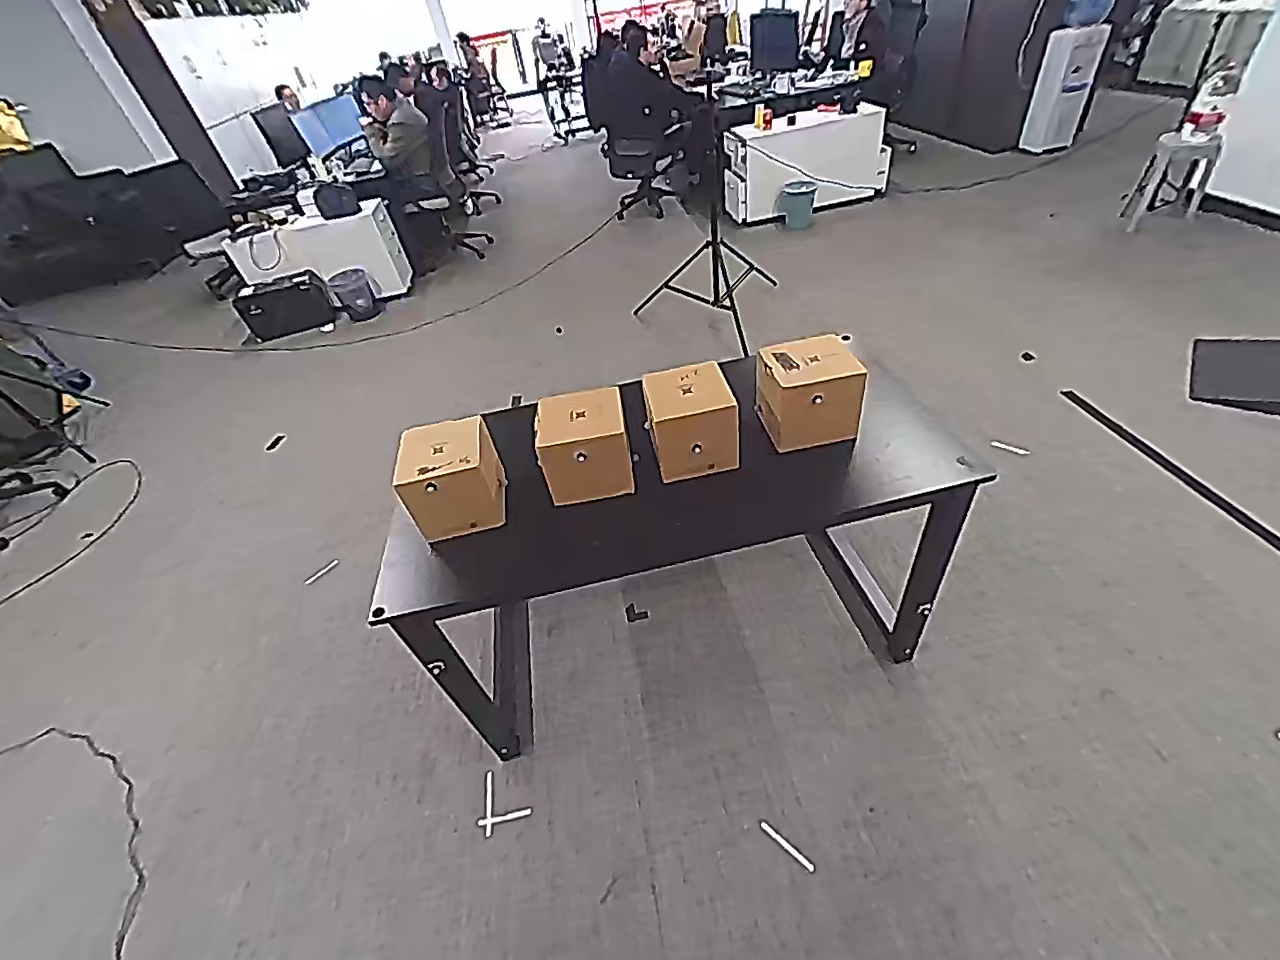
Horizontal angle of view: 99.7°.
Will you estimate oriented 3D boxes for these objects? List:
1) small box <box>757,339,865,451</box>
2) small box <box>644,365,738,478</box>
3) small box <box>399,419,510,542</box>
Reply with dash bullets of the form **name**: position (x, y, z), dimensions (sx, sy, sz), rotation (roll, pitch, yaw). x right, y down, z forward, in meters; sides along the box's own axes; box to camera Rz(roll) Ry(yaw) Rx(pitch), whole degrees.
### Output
- **small box**: position (0.363, -0.182, 1.177), dimensions (0.179, 0.176, 0.168), rotation (-11, 42, -1)
- **small box**: position (0.111, -0.119, 1.164), dimensions (0.168, 0.176, 0.179), rotation (-11, 42, -1)
- **small box**: position (-0.379, 0.002, 1.136), dimensions (0.168, 0.176, 0.179), rotation (-14, 42, -2)
